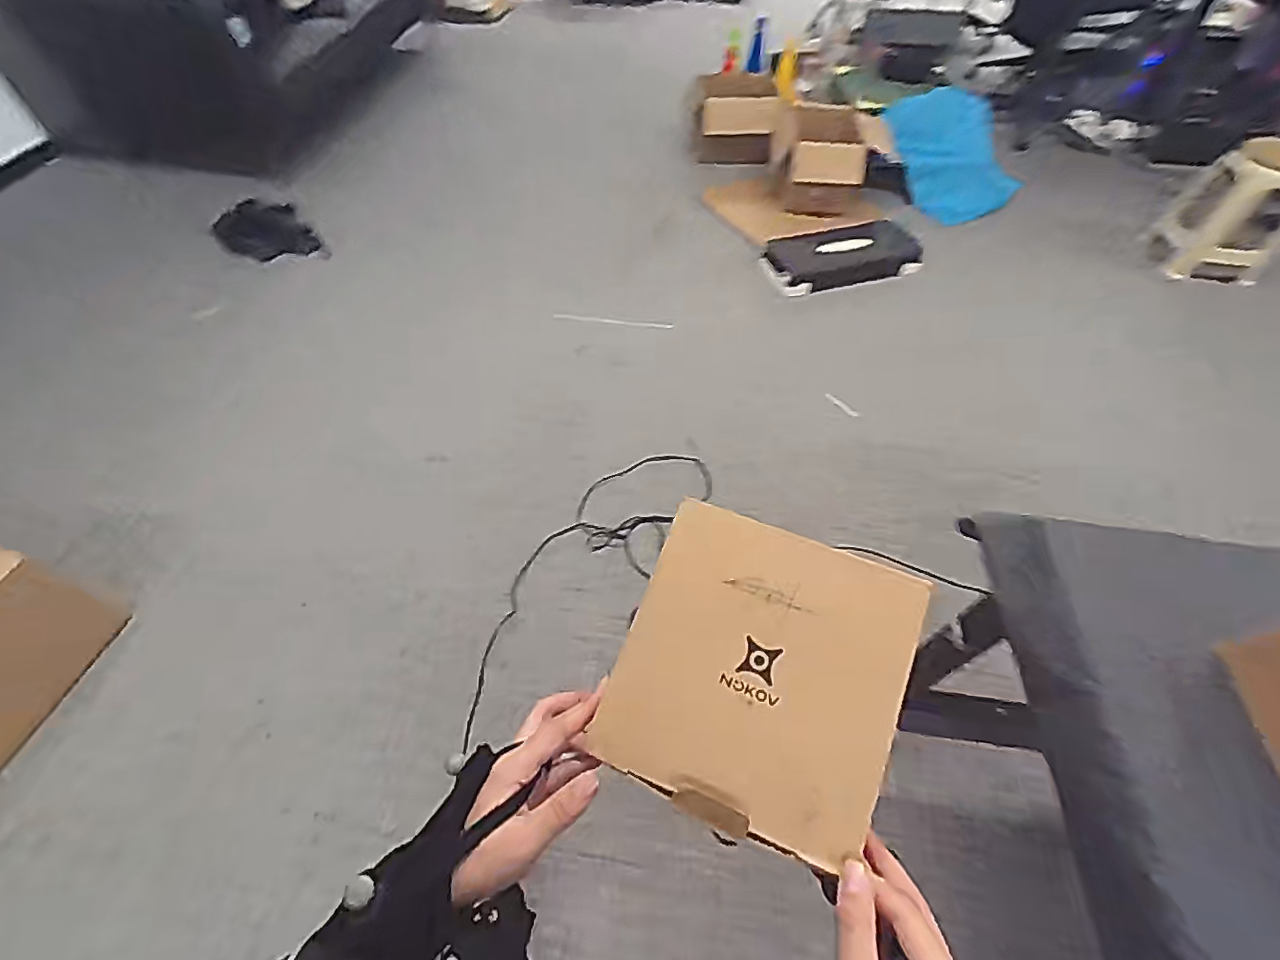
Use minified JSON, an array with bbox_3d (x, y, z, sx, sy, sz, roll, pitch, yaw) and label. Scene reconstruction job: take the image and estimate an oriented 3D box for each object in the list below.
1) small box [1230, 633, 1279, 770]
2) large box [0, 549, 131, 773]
[{"bbox_3d":[0.740,0.227,0.507,0.168,0.176,0.179,7,55,3],"label":"small box"},{"bbox_3d":[-1.472,0.378,1.156,0.320,0.320,0.408,12,53,6],"label":"large box"}]
